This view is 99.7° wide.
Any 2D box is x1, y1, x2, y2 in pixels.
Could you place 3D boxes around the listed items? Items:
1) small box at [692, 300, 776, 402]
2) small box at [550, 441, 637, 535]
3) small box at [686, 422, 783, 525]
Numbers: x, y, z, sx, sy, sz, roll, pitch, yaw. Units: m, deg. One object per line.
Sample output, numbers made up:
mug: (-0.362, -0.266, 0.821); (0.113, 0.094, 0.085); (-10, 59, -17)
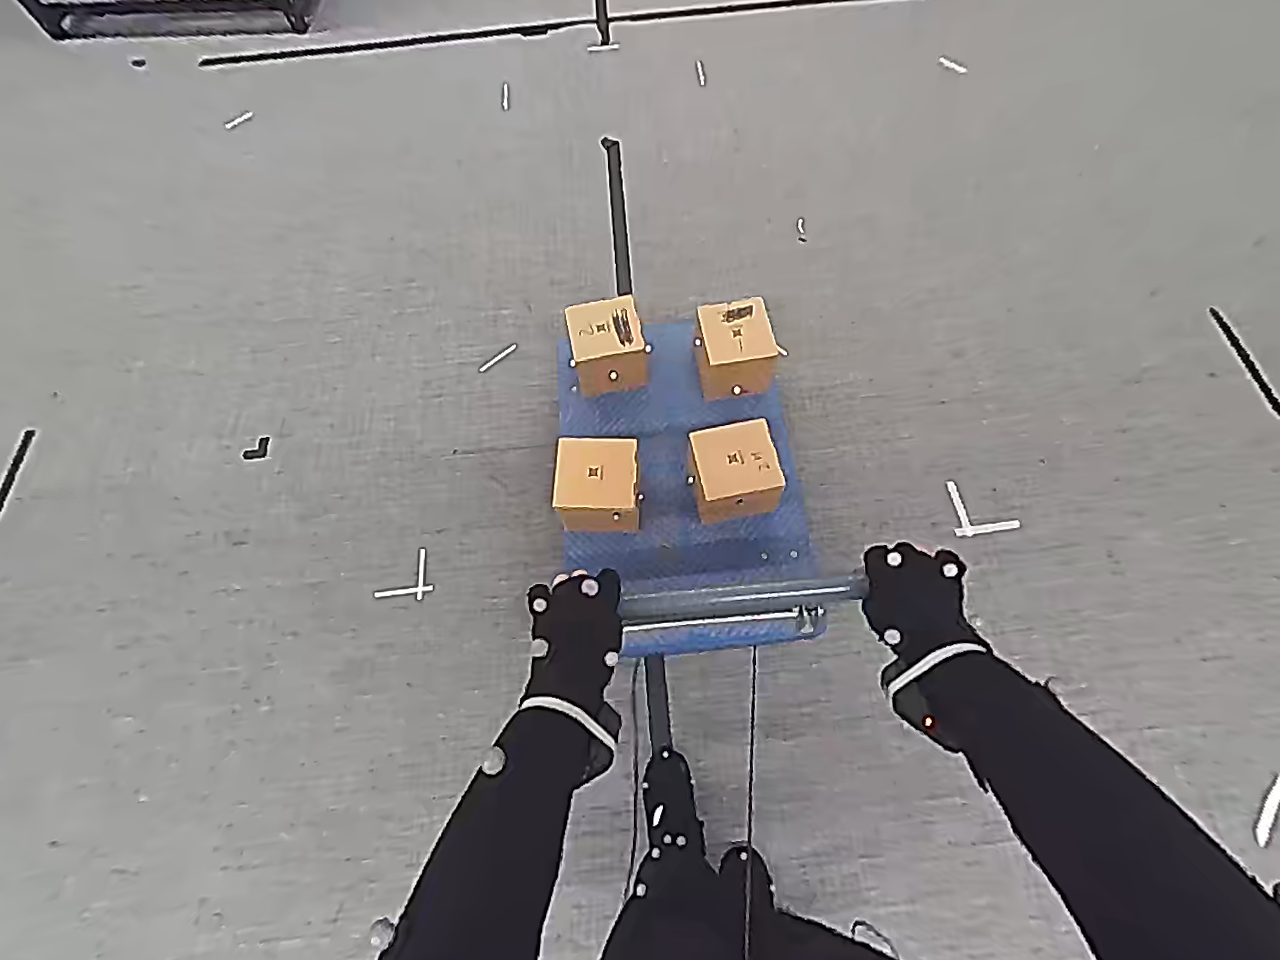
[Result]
small box: (0.227, -0.319, 1.357); (0.168, 0.176, 0.179); (-9, 68, -1)
small box: (-0.098, 0.022, 1.230); (0.179, 0.176, 0.168); (1, 67, 1)
small box: (0.206, -0.008, 1.228); (0.179, 0.176, 0.168); (-11, 67, -2)
